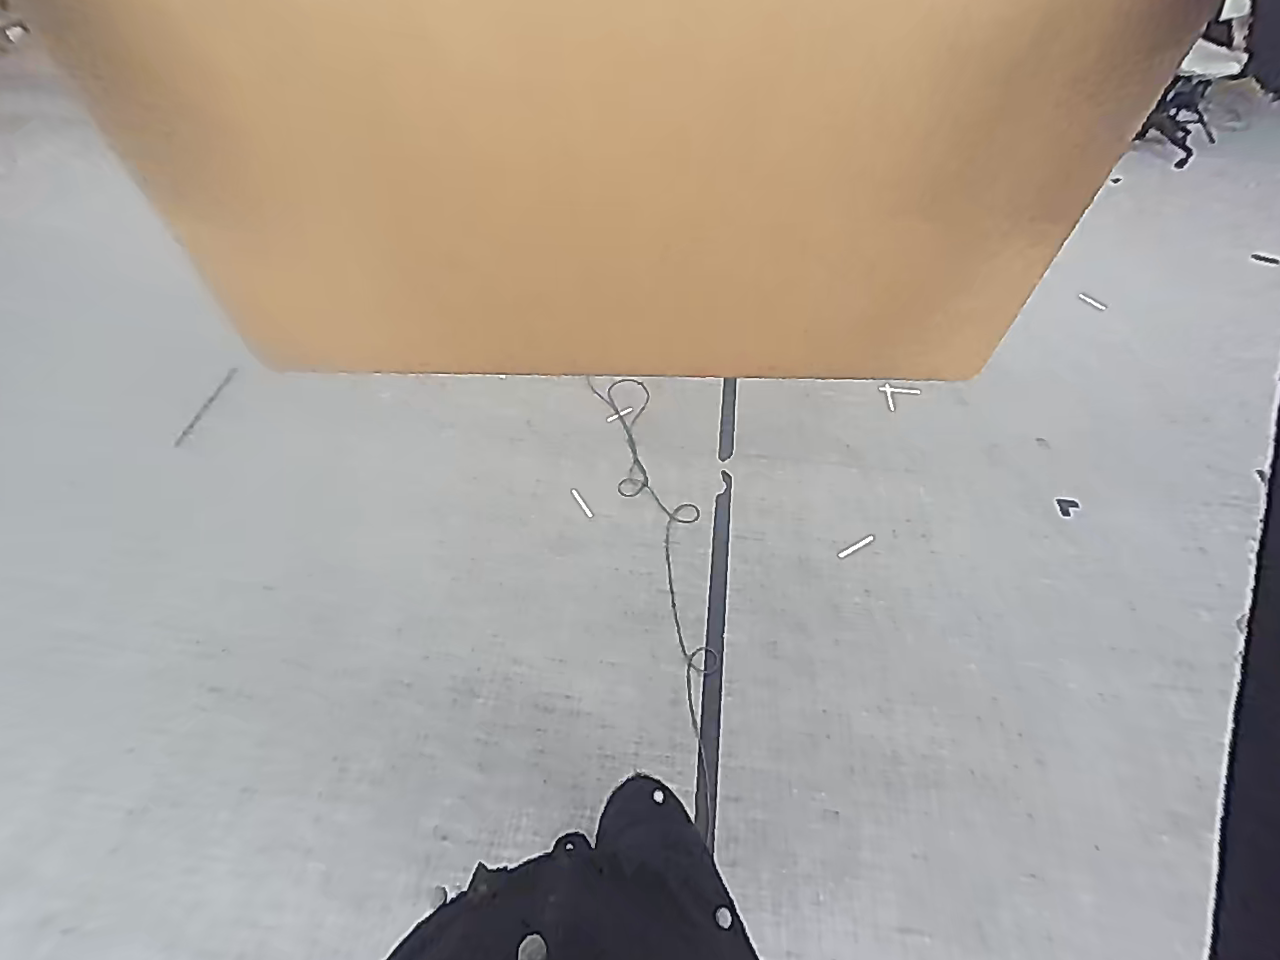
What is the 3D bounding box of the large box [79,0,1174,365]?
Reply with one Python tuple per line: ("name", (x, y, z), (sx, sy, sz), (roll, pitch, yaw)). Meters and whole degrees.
("large box", (-0.006, -0.277, 0.296), (0.408, 0.320, 0.320), (1, 52, -1))
